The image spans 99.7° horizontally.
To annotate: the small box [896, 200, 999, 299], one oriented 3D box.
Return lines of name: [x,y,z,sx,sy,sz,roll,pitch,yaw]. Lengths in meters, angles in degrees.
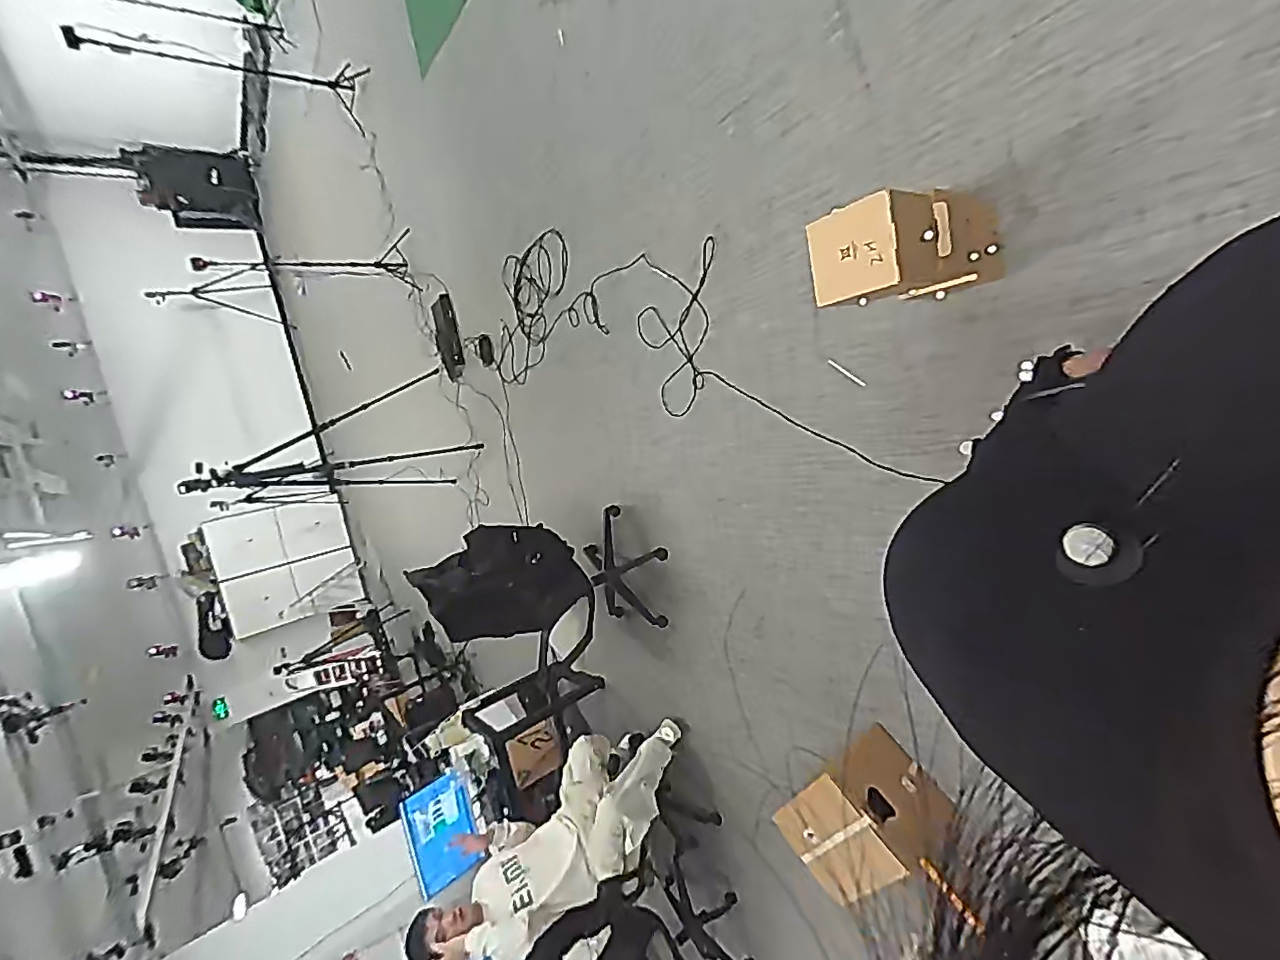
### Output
small box: [0.717,-0.534,1.267,0.179,0.176,0.168,-1,102,52]

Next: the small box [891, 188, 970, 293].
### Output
small box: [0.589,-0.507,1.167,0.179,0.176,0.168,0,103,53]

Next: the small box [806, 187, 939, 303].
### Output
small box: [0.461,-0.456,1.075,0.179,0.176,0.168,-1,103,52]
